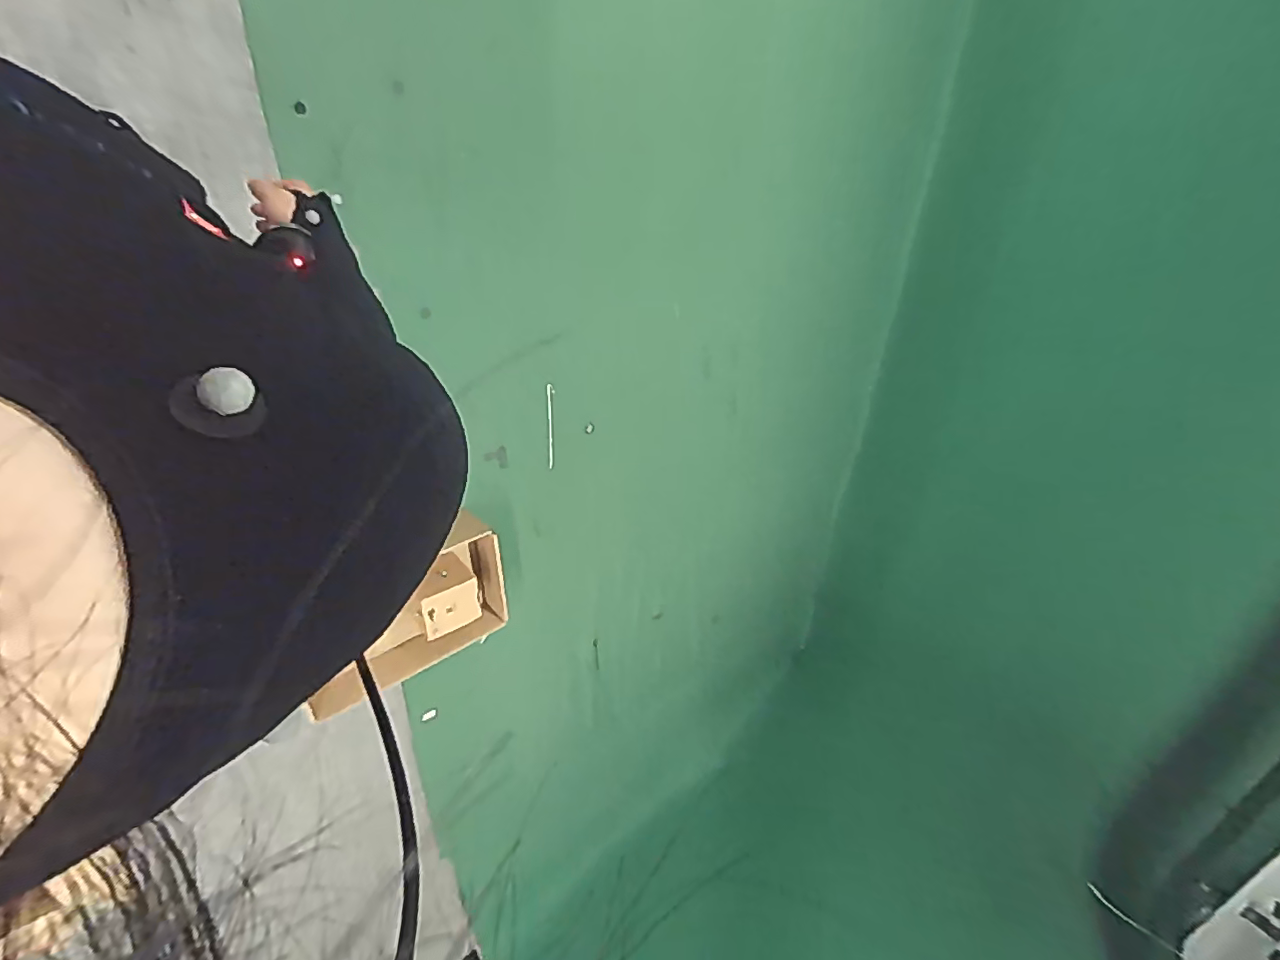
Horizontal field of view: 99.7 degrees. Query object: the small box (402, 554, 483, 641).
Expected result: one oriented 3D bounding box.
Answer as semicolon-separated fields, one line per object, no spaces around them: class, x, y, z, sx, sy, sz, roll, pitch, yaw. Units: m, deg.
small box;-0.615;0.357;1.684;0.179;0.176;0.168;-22;128;-36
